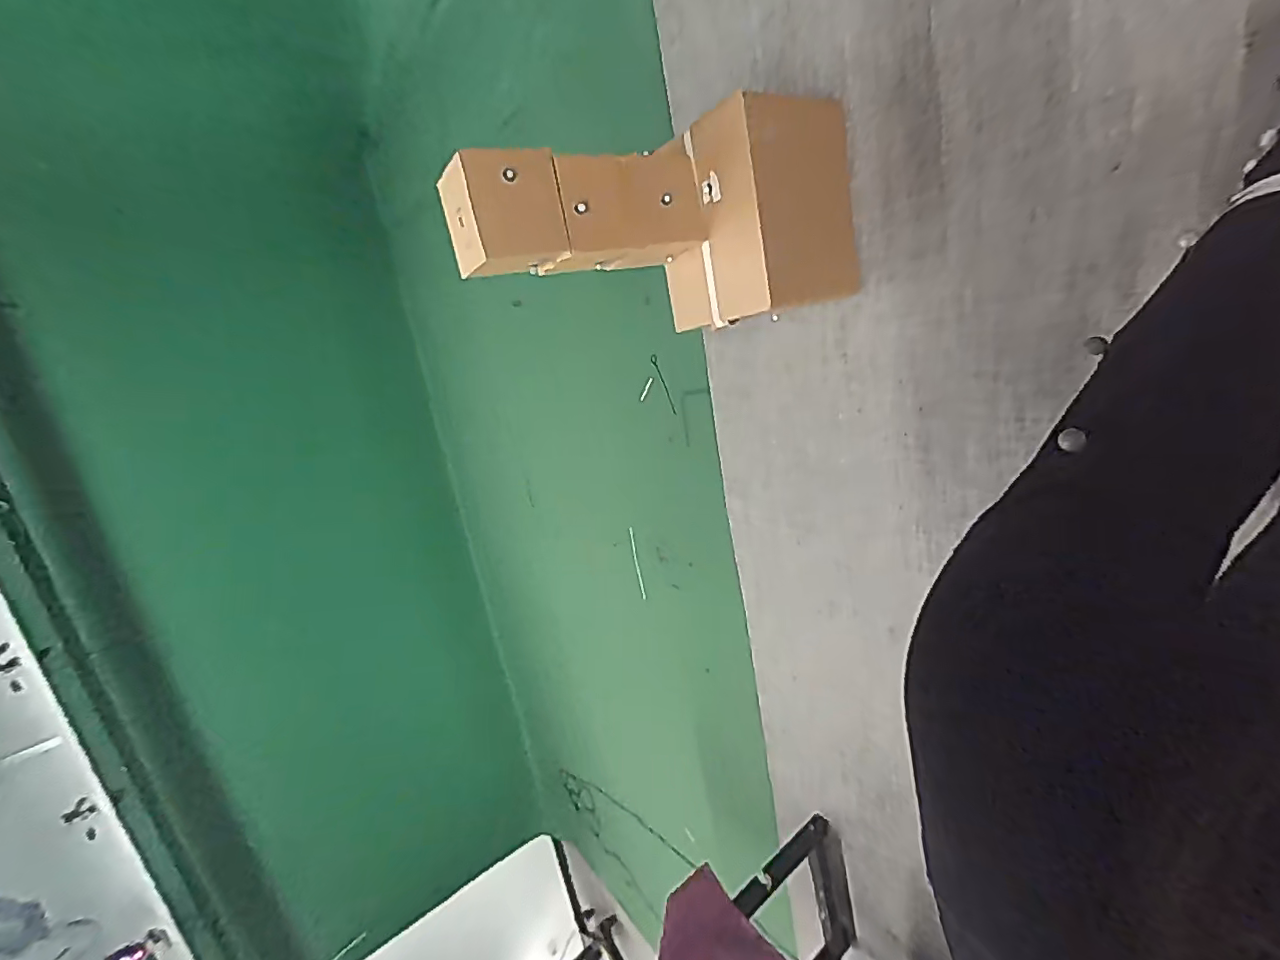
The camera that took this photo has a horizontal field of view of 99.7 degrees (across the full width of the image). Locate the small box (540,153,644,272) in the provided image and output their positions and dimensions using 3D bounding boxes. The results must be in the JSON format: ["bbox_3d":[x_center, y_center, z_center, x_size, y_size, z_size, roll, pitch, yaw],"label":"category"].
[{"bbox_3d":[-0.114,-0.538,1.099,0.168,0.176,0.179,9,115,57],"label":"small box"}]

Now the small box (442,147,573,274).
[{"bbox_3d":[-0.246,-0.498,1.012,0.168,0.176,0.179,13,118,57],"label":"small box"}]

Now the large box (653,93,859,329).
[{"bbox_3d":[0.271,-0.592,1.259,0.320,0.320,0.408,8,112,55],"label":"large box"}]
